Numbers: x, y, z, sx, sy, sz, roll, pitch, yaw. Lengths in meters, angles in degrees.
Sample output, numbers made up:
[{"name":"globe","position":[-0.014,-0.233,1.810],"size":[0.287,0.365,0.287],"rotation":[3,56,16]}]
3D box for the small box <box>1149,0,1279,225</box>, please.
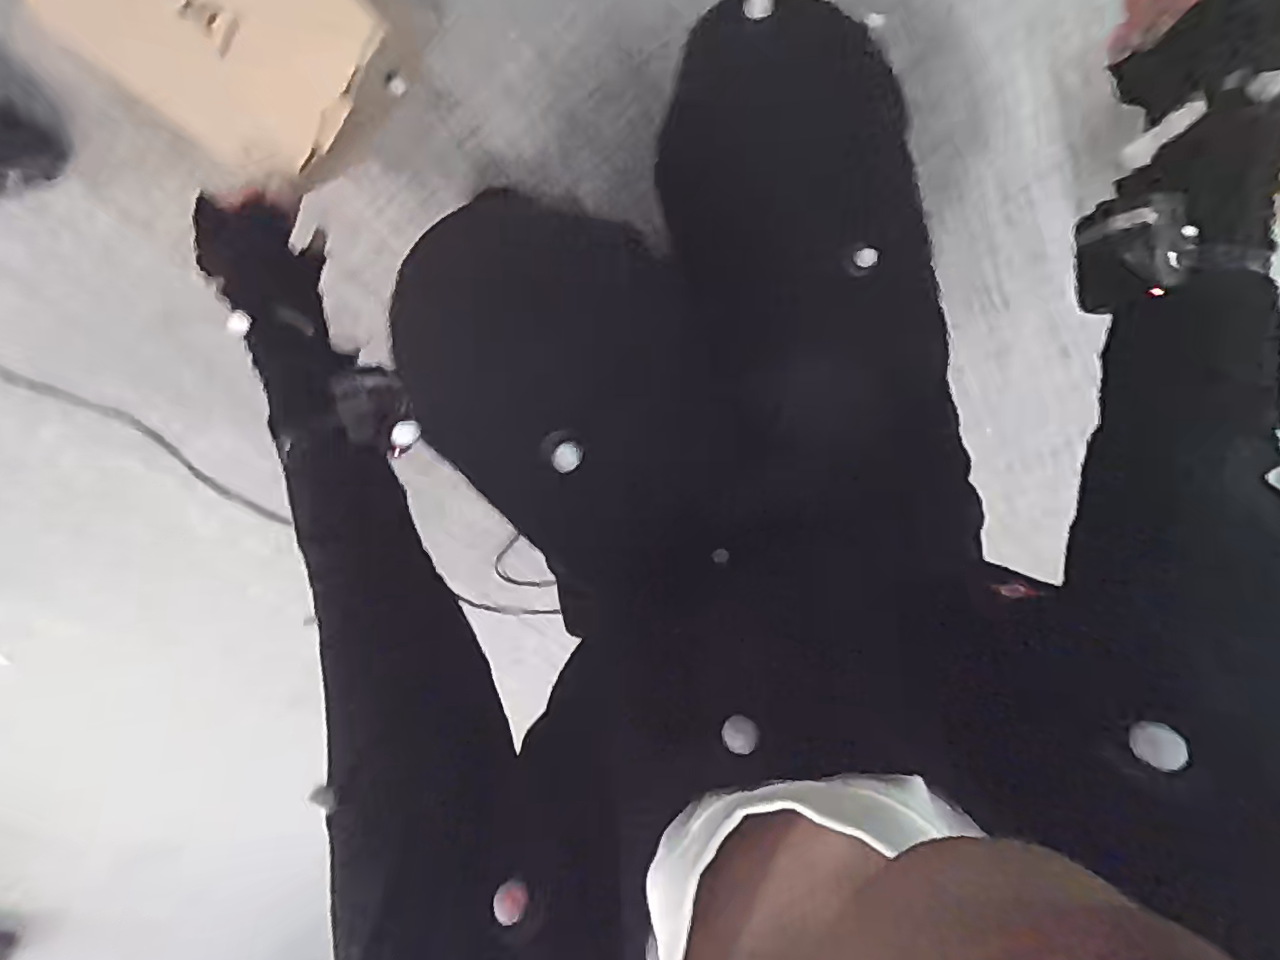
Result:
[{"name":"small box","position":[0.597,-0.363,0.471],"size":[0.179,0.176,0.168],"rotation":[-25,126,20]}]
